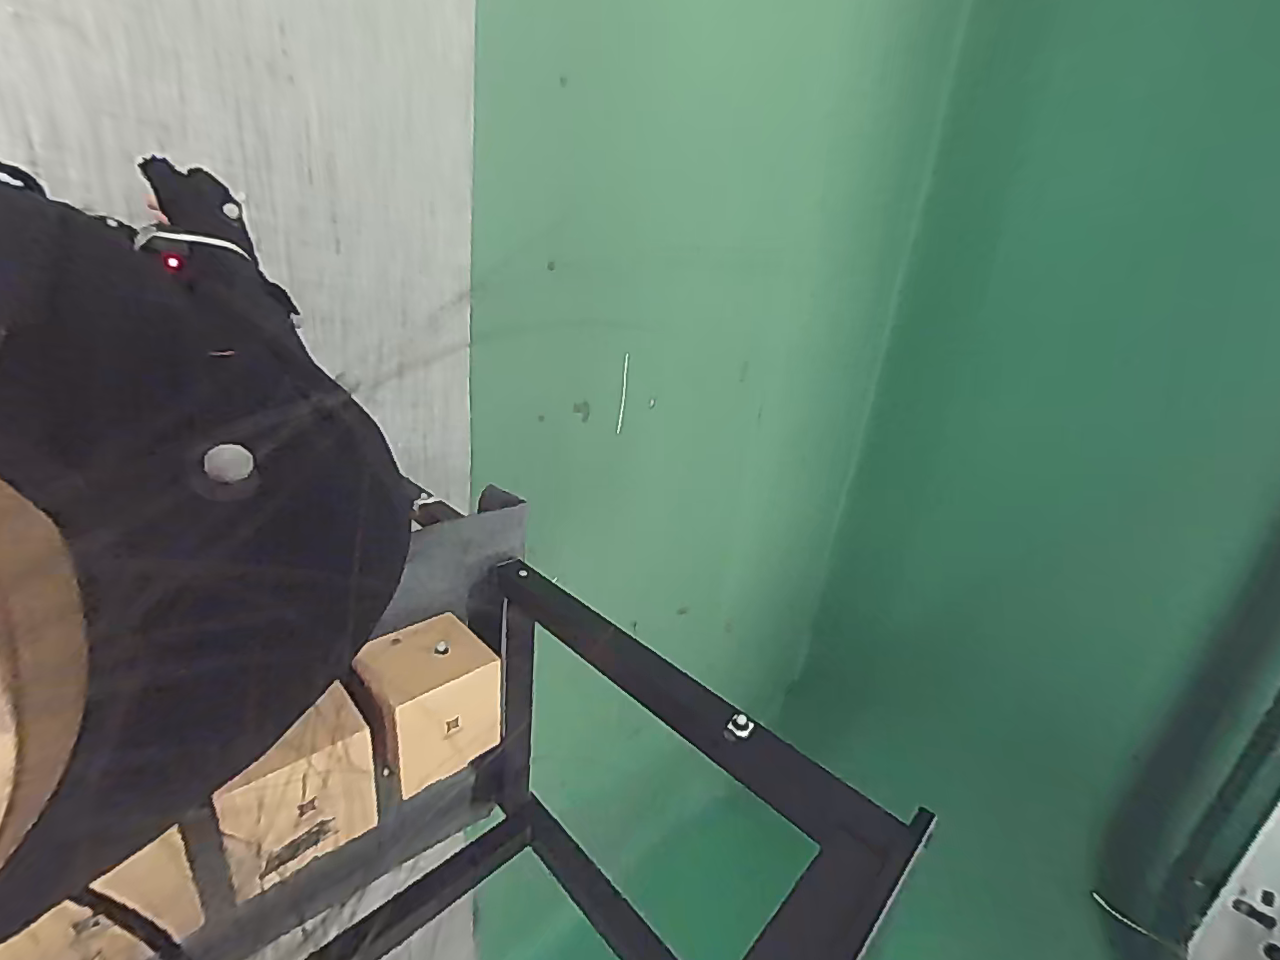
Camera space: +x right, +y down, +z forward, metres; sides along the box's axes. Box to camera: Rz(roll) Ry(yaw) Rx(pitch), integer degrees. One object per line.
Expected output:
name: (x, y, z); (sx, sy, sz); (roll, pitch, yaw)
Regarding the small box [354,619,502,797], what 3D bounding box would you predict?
small box: (-0.337, 0.344, 0.861); (0.168, 0.176, 0.179); (-15, 119, -43)
